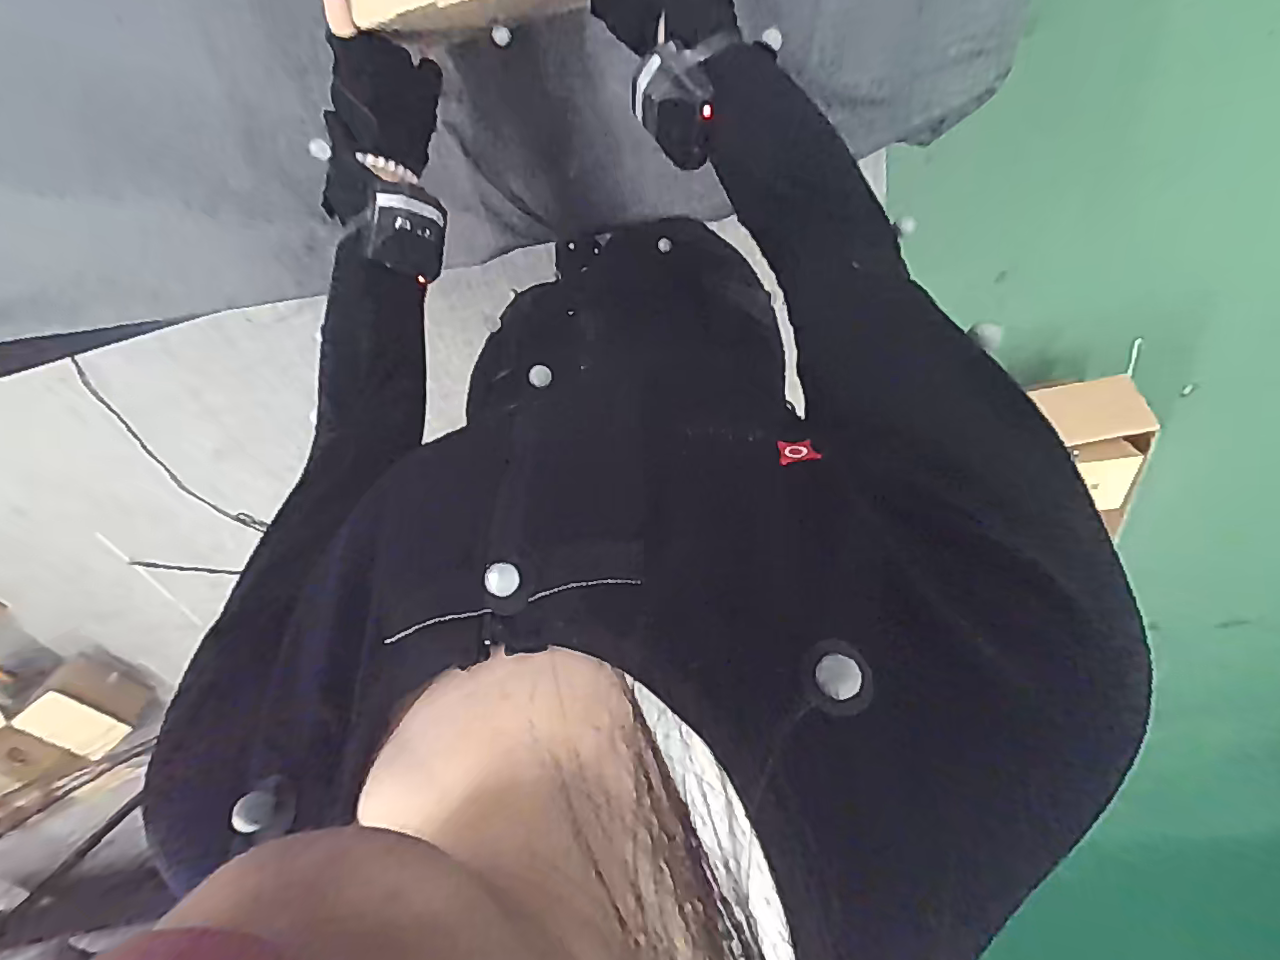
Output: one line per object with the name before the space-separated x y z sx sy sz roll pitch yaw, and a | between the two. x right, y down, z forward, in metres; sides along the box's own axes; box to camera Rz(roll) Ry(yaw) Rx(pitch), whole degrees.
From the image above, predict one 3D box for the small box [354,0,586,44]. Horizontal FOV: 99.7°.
small box | -0.134 -0.447 0.388 0.168 0.176 0.179 -11 125 6
